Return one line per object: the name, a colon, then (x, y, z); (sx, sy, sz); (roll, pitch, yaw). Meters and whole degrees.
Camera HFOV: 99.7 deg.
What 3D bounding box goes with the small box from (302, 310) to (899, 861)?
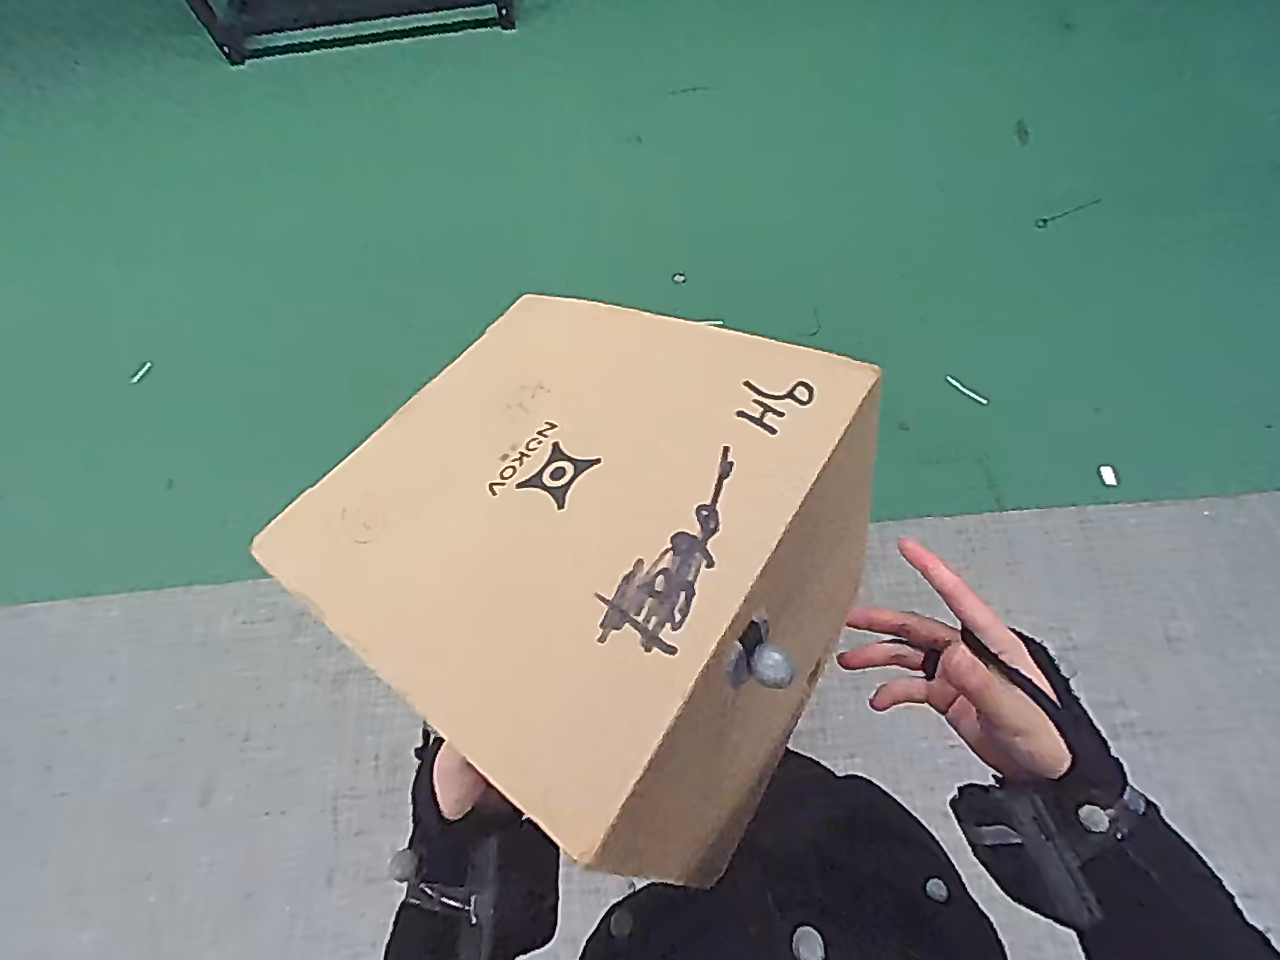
small box: (-0.002, 0.048, 0.259); (0.179, 0.176, 0.168); (22, 64, 33)
